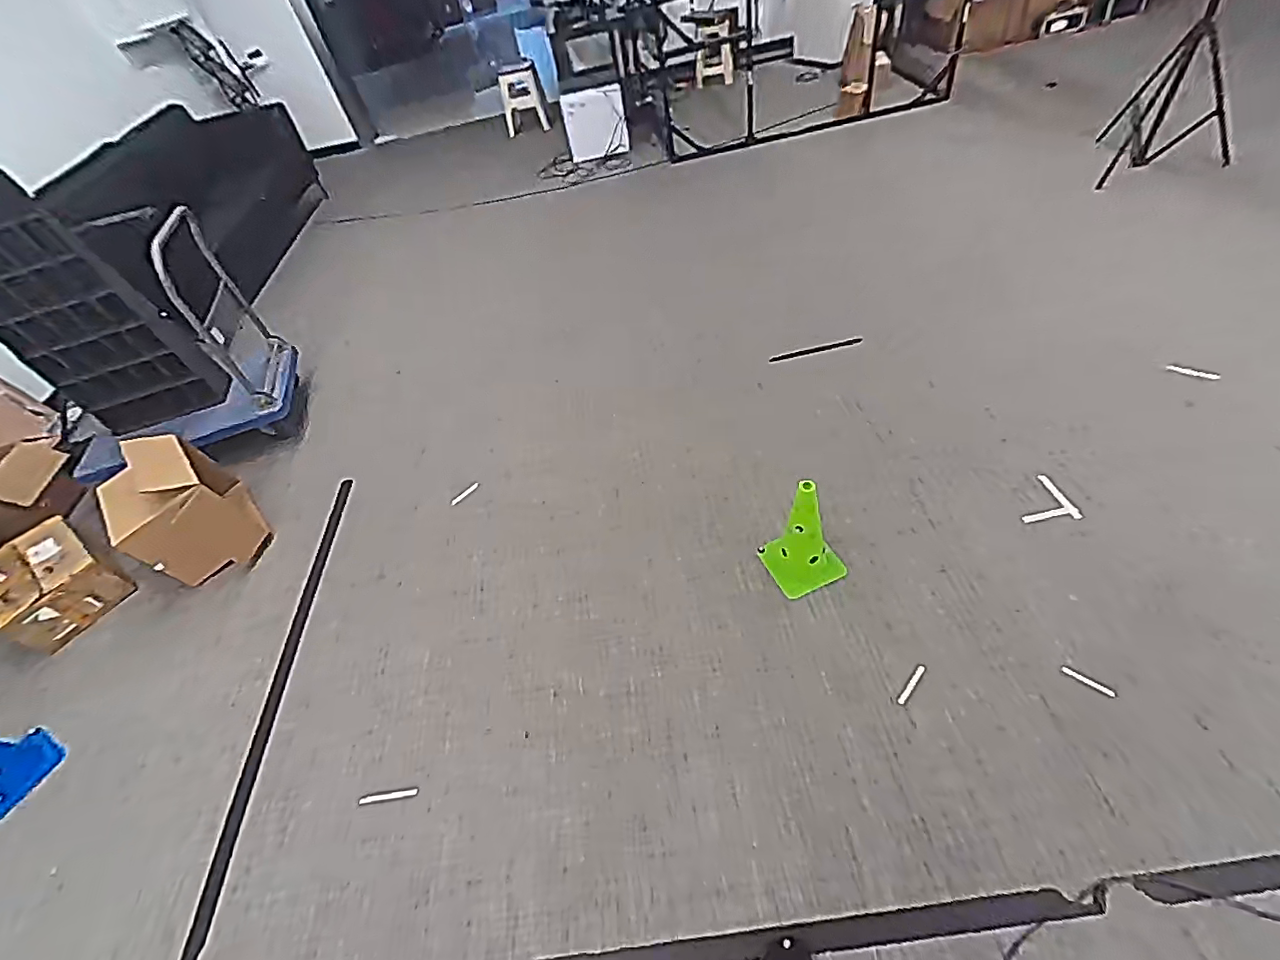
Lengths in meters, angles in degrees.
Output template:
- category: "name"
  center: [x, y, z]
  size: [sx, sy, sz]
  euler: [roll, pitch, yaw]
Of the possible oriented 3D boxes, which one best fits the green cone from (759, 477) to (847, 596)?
- category: "green cone"
  center: [0.459, 0.127, 1.493]
  size: [0.202, 0.368, 0.200]
  euler: [-22, 48, -9]
